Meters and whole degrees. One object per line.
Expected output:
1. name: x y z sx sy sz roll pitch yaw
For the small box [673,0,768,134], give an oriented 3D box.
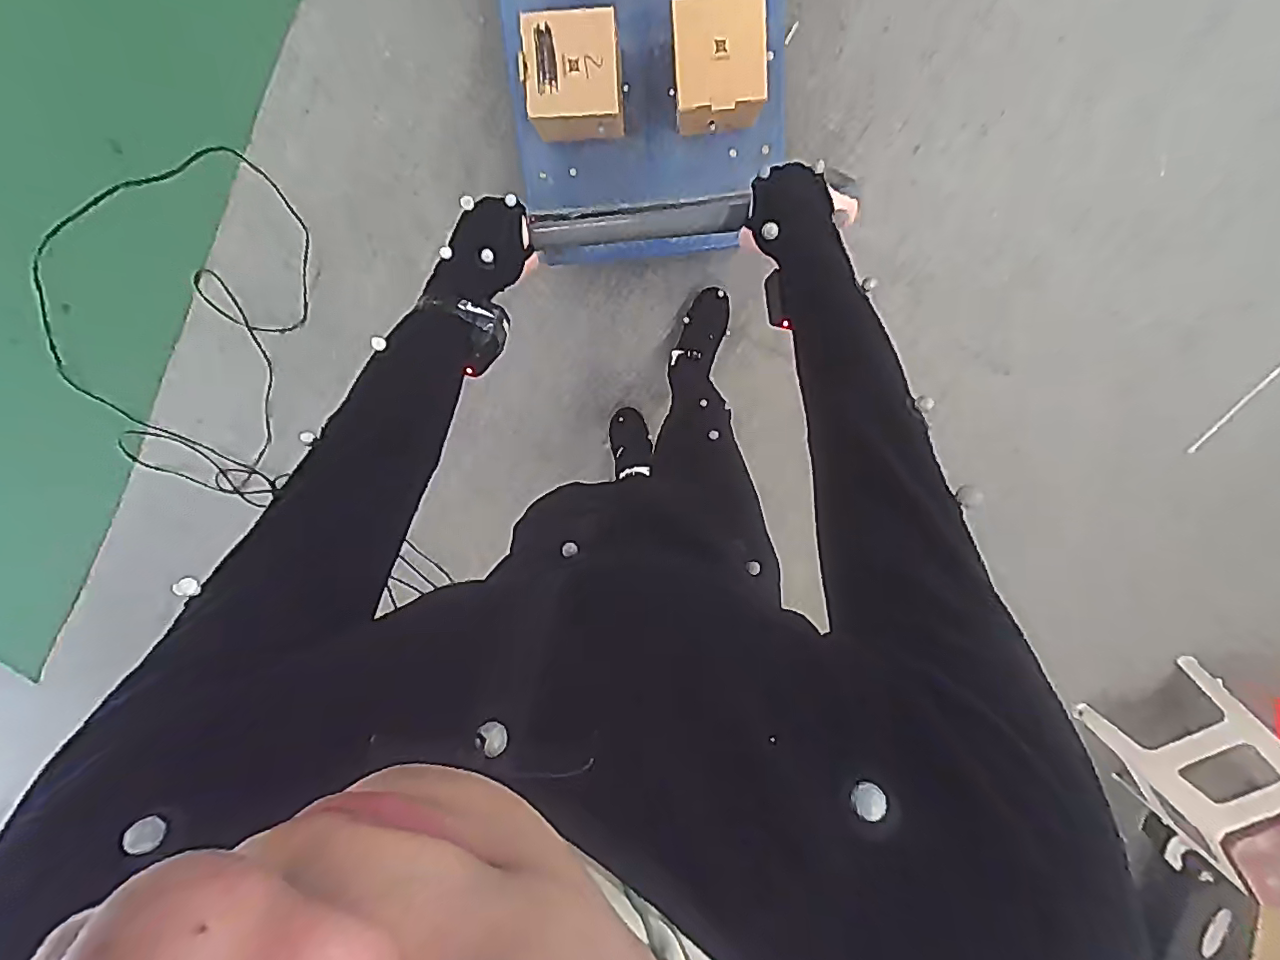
1. small box: 0.151 -0.802 1.049 0.168 0.176 0.179 -4 110 5
